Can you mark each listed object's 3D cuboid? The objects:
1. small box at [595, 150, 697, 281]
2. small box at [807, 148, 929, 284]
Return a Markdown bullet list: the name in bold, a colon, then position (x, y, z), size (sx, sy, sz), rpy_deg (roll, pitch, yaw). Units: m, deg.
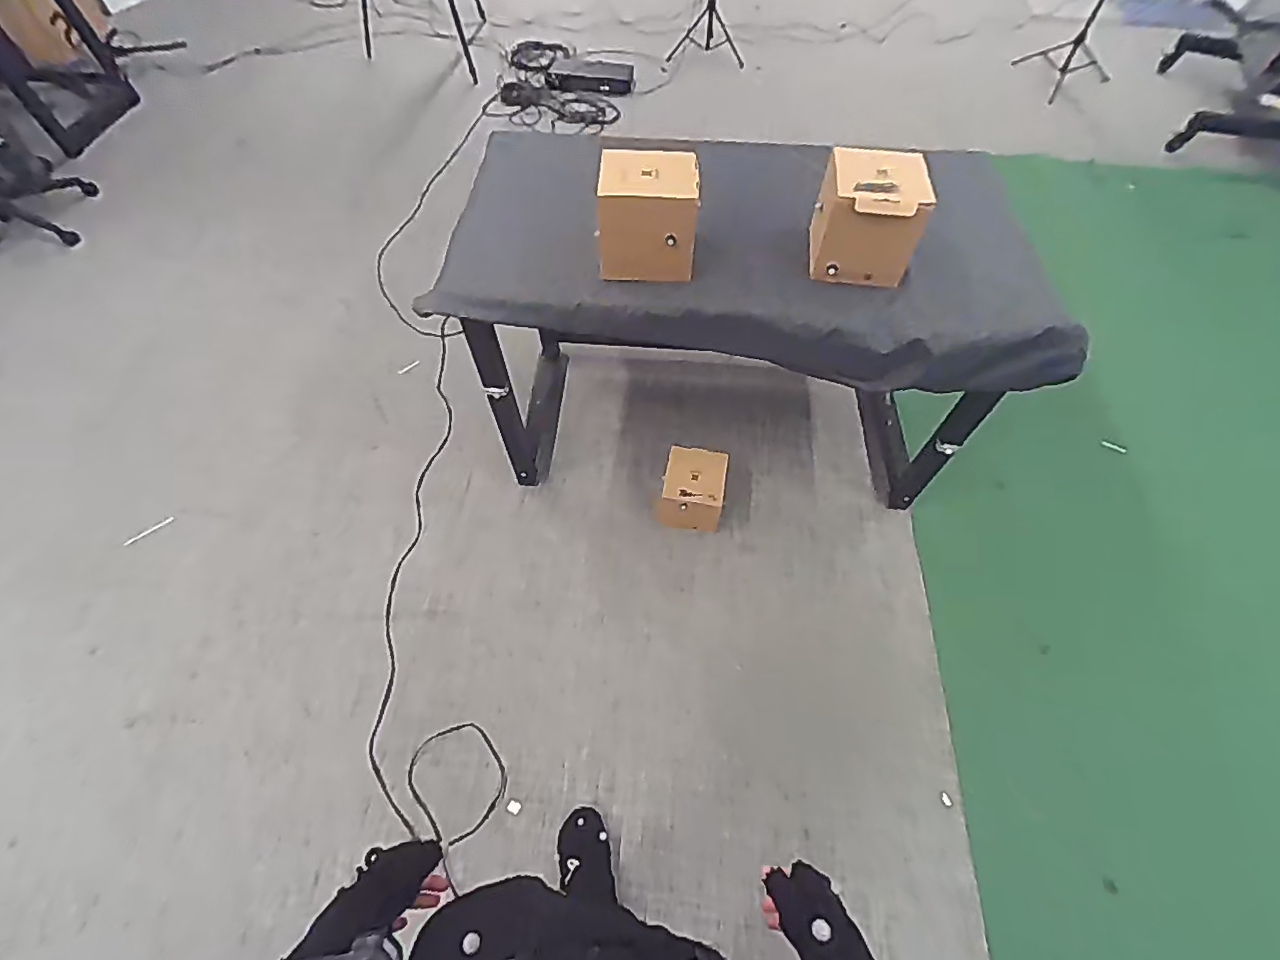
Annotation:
- **small box**: position (0.010, -0.497, 1.028), size (0.179, 0.176, 0.168), rpy_deg (0, 56, 1)
- **small box**: position (0.422, -0.498, 1.030), size (0.168, 0.176, 0.179), rpy_deg (8, 58, 4)
